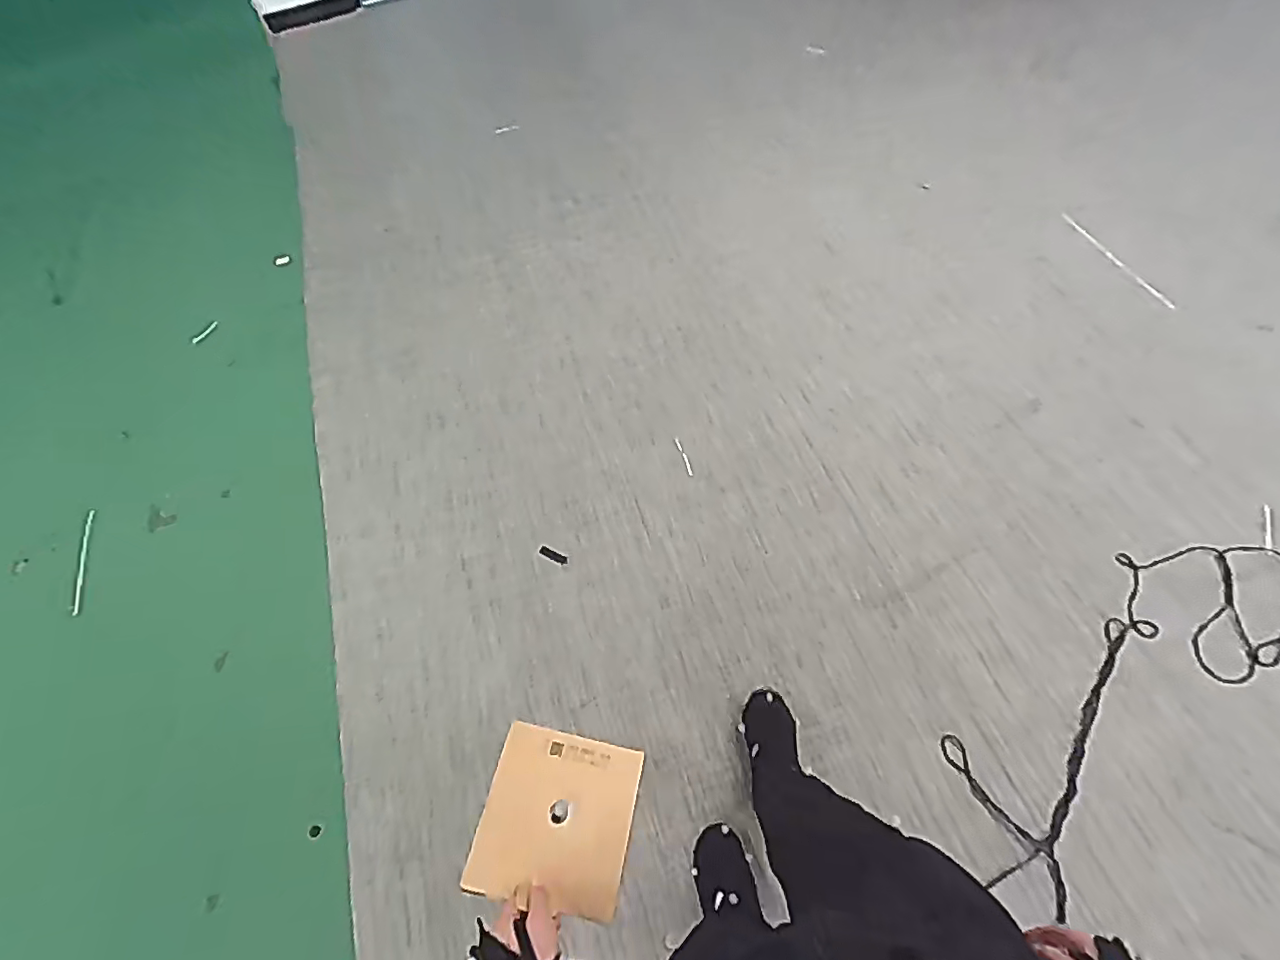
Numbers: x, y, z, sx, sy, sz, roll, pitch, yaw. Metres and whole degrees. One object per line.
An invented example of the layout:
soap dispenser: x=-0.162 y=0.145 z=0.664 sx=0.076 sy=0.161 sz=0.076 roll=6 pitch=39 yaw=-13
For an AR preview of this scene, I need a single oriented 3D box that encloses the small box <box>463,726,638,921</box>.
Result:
small box: x=-0.102 y=0.417 z=0.672 sx=0.168 sy=0.179 sz=0.176 roll=13 pitch=57 yaw=0
